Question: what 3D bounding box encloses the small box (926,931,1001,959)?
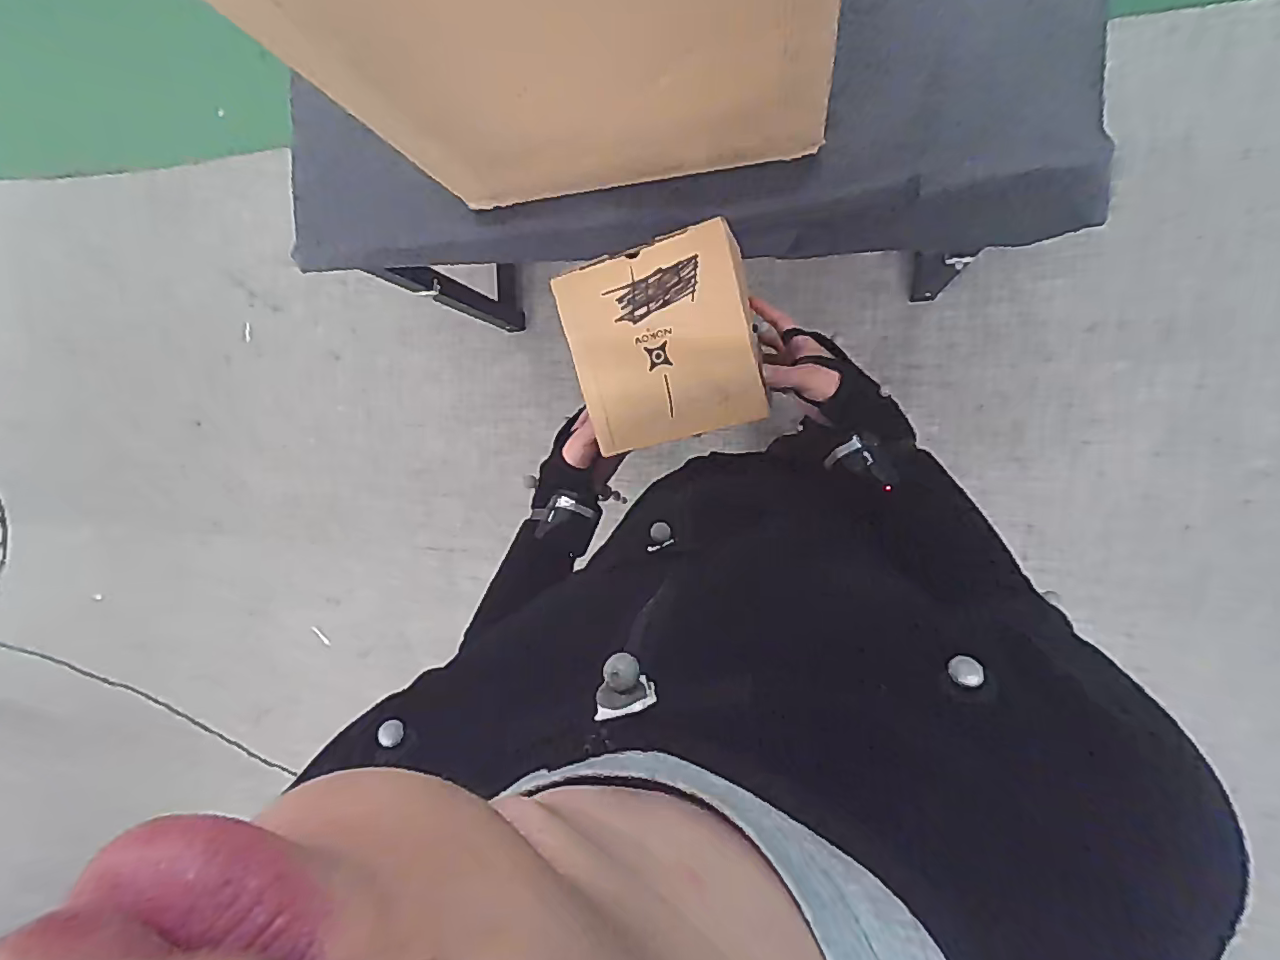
[{"bbox_3d":[0.844,1.294,1.370,0.168,0.176,0.179,-13,92,17],"label":"small box"}]
